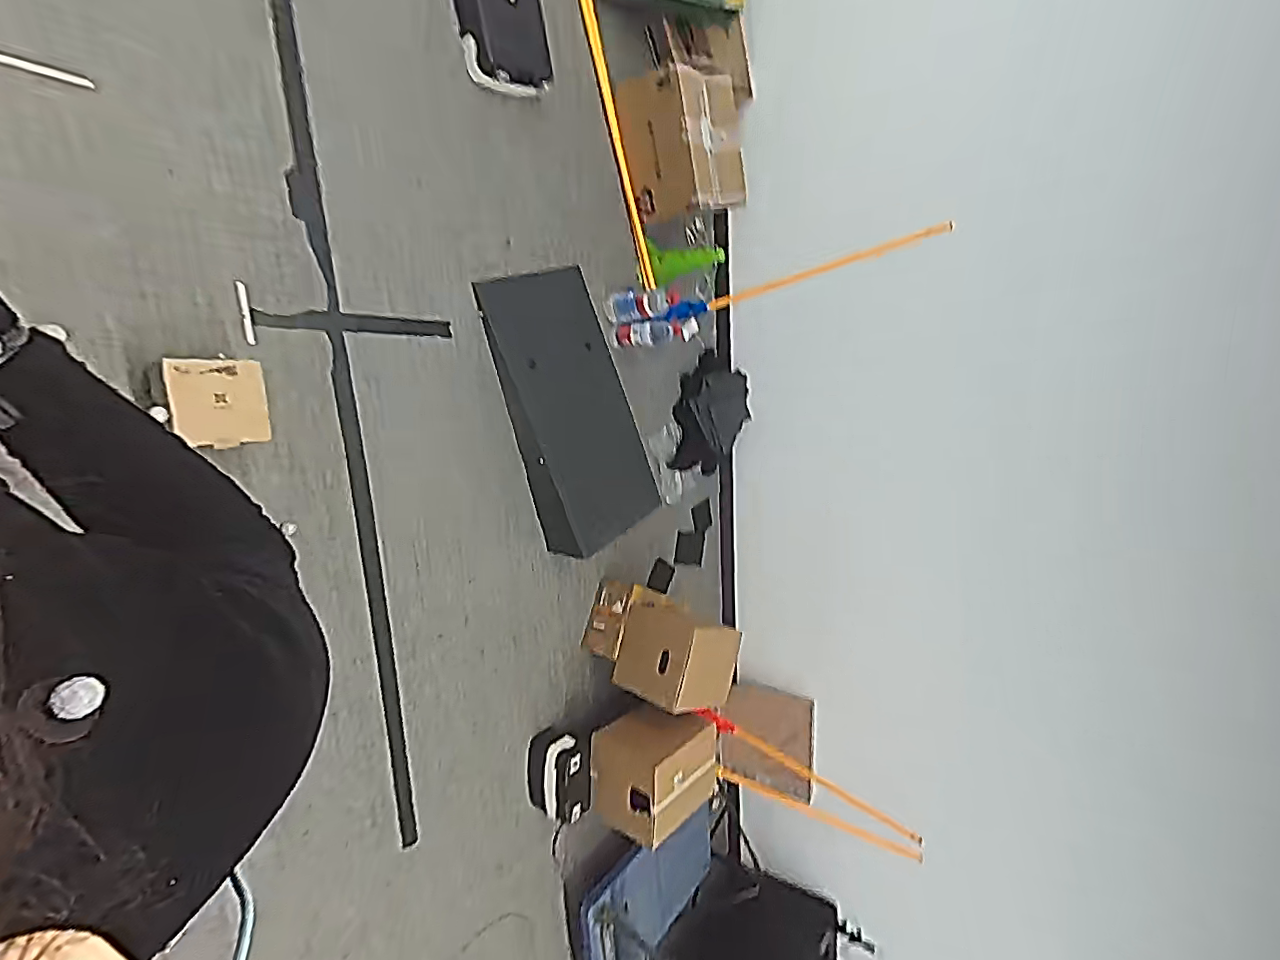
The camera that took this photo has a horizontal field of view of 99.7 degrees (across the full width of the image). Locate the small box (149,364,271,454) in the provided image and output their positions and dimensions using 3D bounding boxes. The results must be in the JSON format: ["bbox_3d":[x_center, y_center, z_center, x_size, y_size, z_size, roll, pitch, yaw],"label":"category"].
[{"bbox_3d":[-0.915,-0.154,1.152,0.168,0.176,0.179,-12,105,-50],"label":"small box"}]
